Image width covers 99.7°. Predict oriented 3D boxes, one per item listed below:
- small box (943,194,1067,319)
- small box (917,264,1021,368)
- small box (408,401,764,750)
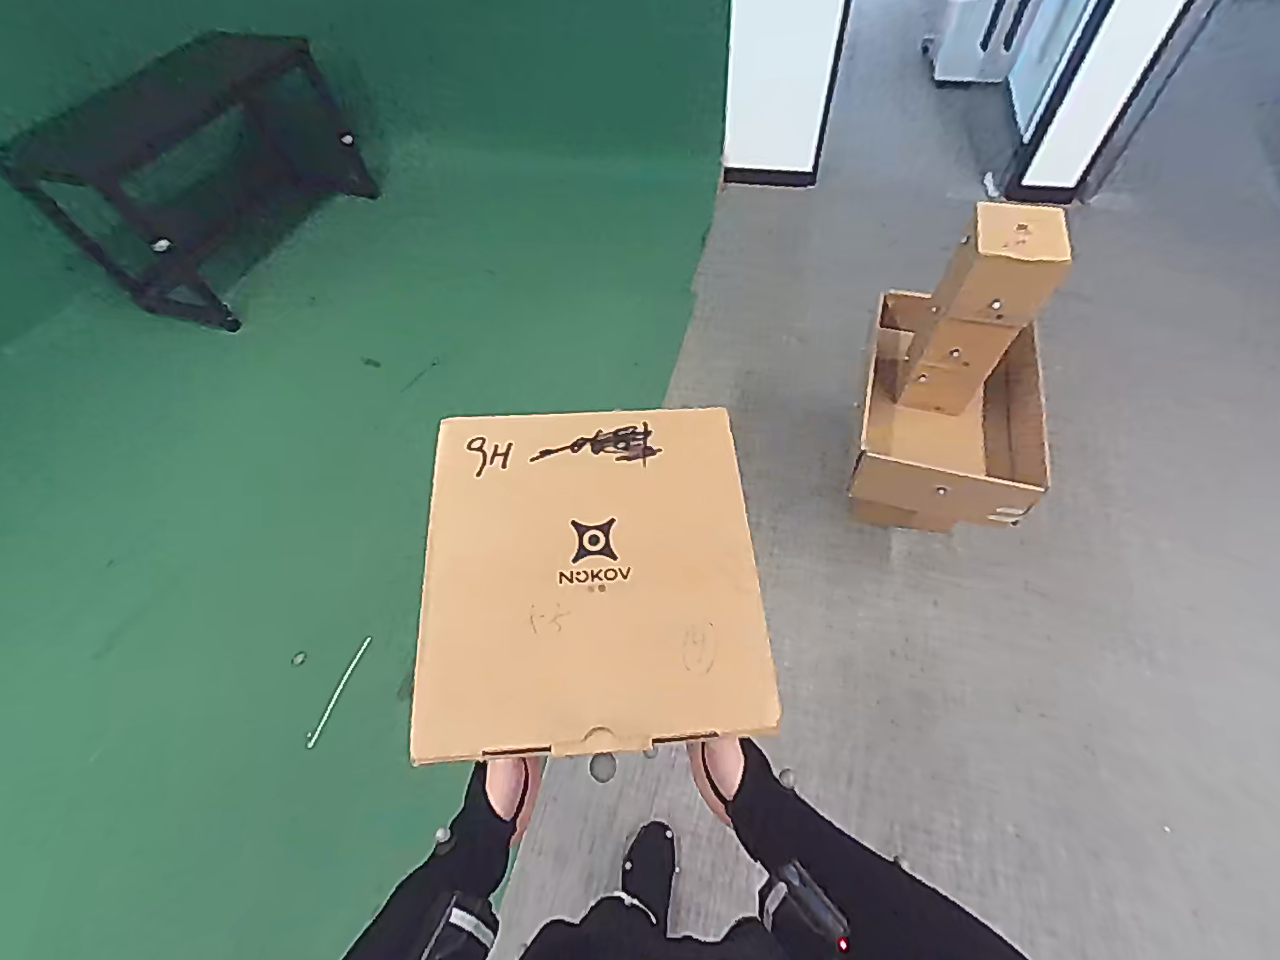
[{"bbox_3d":[0.763,-0.473,1.150,0.168,0.176,0.179,11,62,13],"label":"small box"},{"bbox_3d":[0.782,-0.400,1.297,0.168,0.176,0.179,13,62,13],"label":"small box"},{"bbox_3d":[-0.030,0.069,0.349,0.168,0.176,0.179,-2,65,-4],"label":"small box"}]
